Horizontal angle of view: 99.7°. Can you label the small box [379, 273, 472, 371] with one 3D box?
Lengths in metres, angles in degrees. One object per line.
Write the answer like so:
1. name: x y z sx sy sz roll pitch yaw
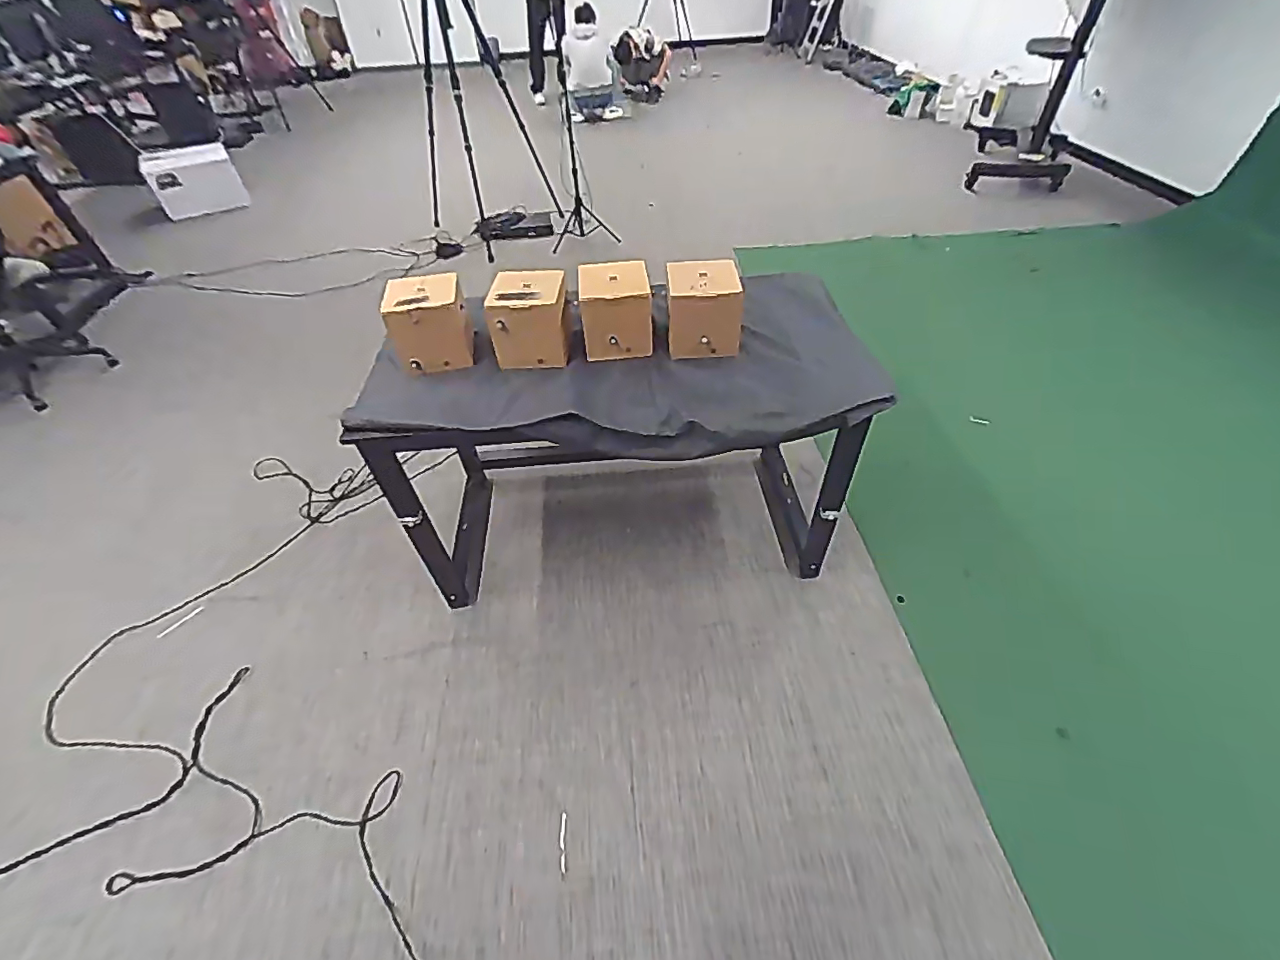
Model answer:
1. small box: -0.513 -0.379 1.319 0.168 0.176 0.179 -10 45 -7
